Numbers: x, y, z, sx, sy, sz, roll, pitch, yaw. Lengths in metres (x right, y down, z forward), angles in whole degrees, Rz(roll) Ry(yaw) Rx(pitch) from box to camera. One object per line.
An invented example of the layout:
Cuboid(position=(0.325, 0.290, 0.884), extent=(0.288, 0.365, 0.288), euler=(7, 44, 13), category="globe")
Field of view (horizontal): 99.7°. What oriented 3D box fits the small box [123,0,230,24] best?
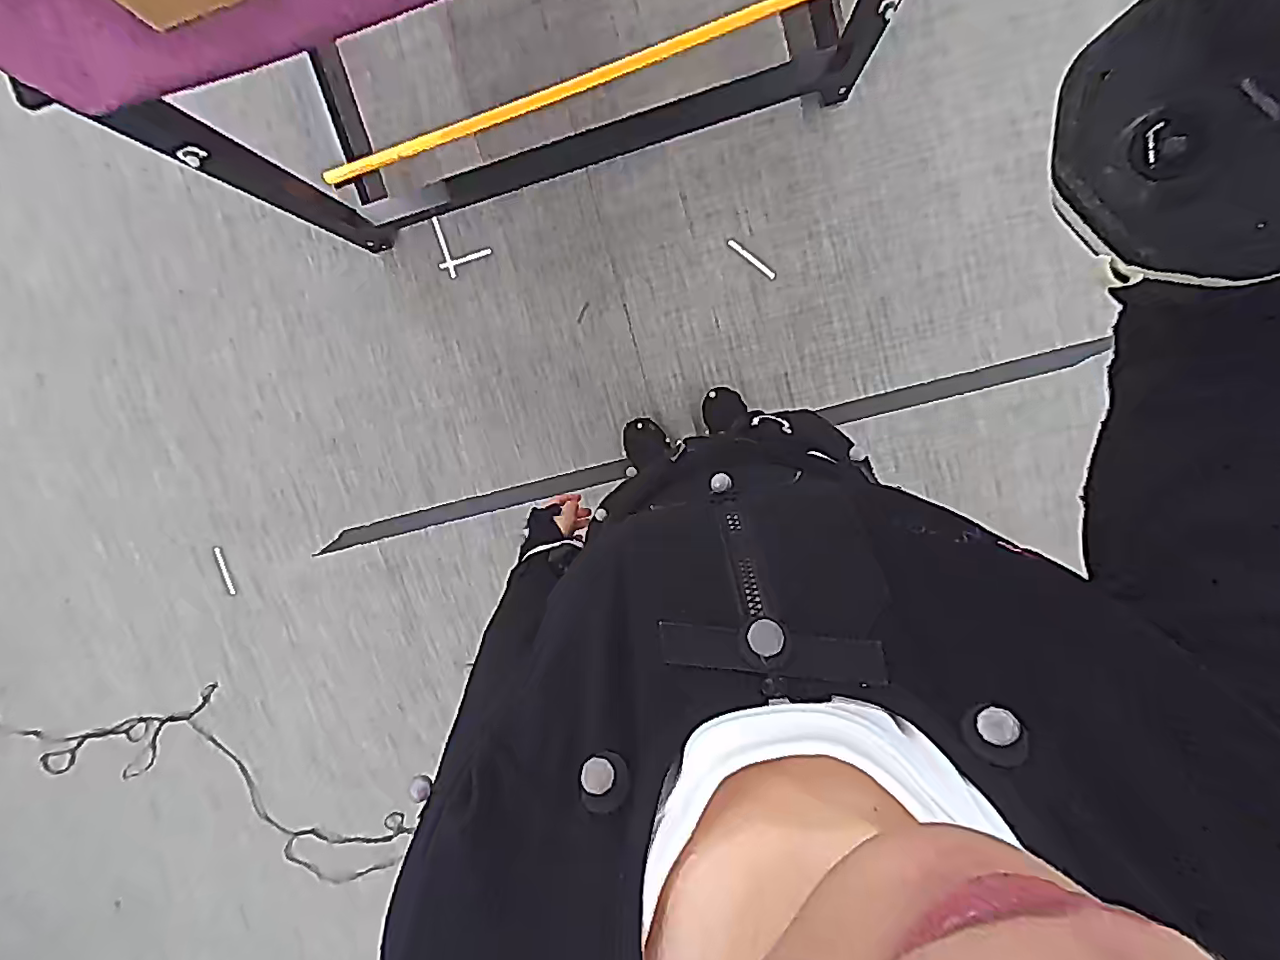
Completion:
Cuboid(position=(-0.492, -0.595, 0.515), extent=(0.179, 0.176, 0.168), euler=(-16, 96, 5), category="small box")
